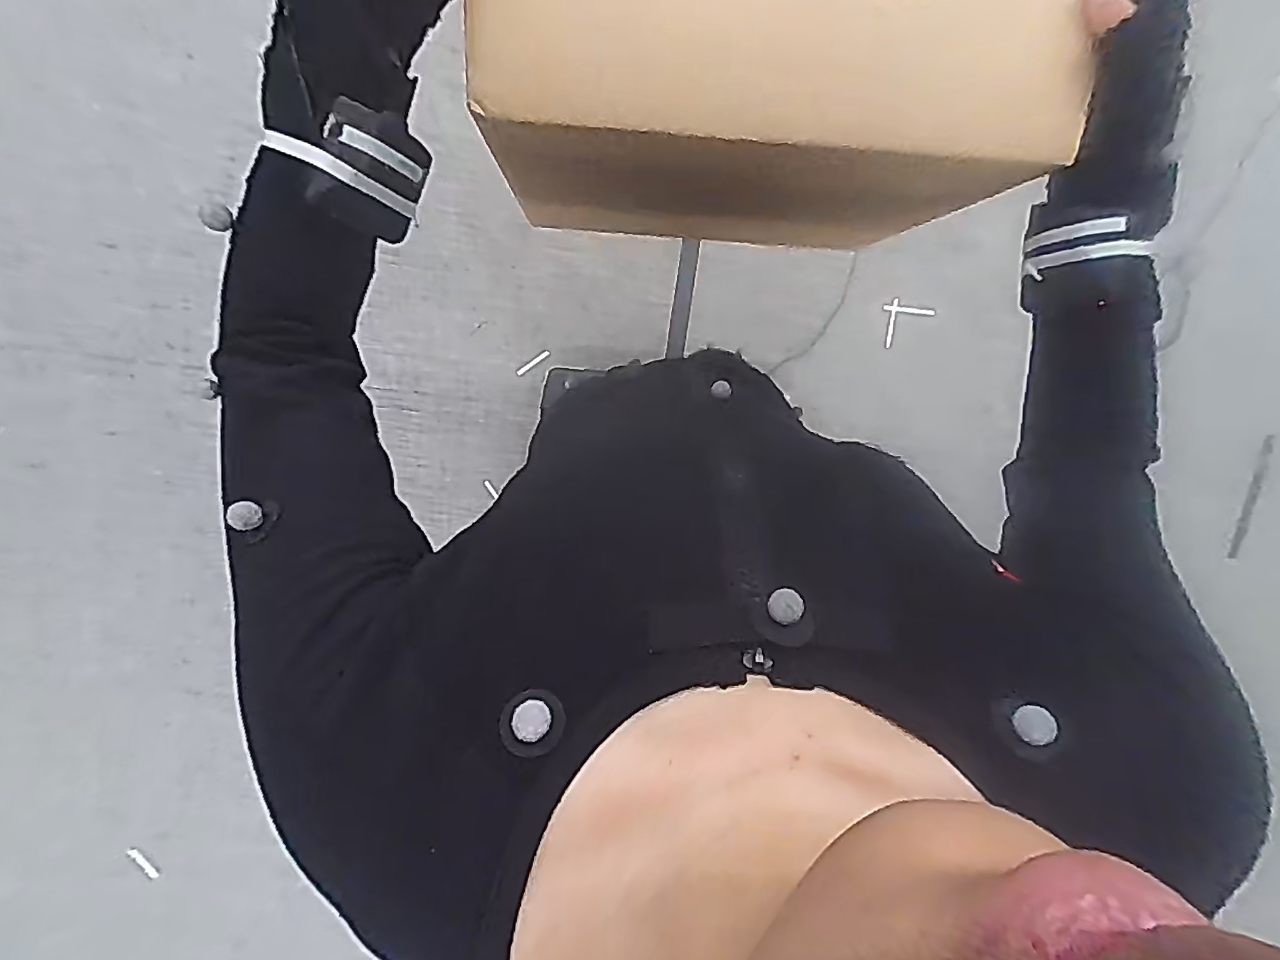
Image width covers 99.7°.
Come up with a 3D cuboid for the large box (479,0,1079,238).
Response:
[{"bbox_3d":[0.085,-0.417,0.476,0.408,0.320,0.320,1,104,-6],"label":"large box"}]
